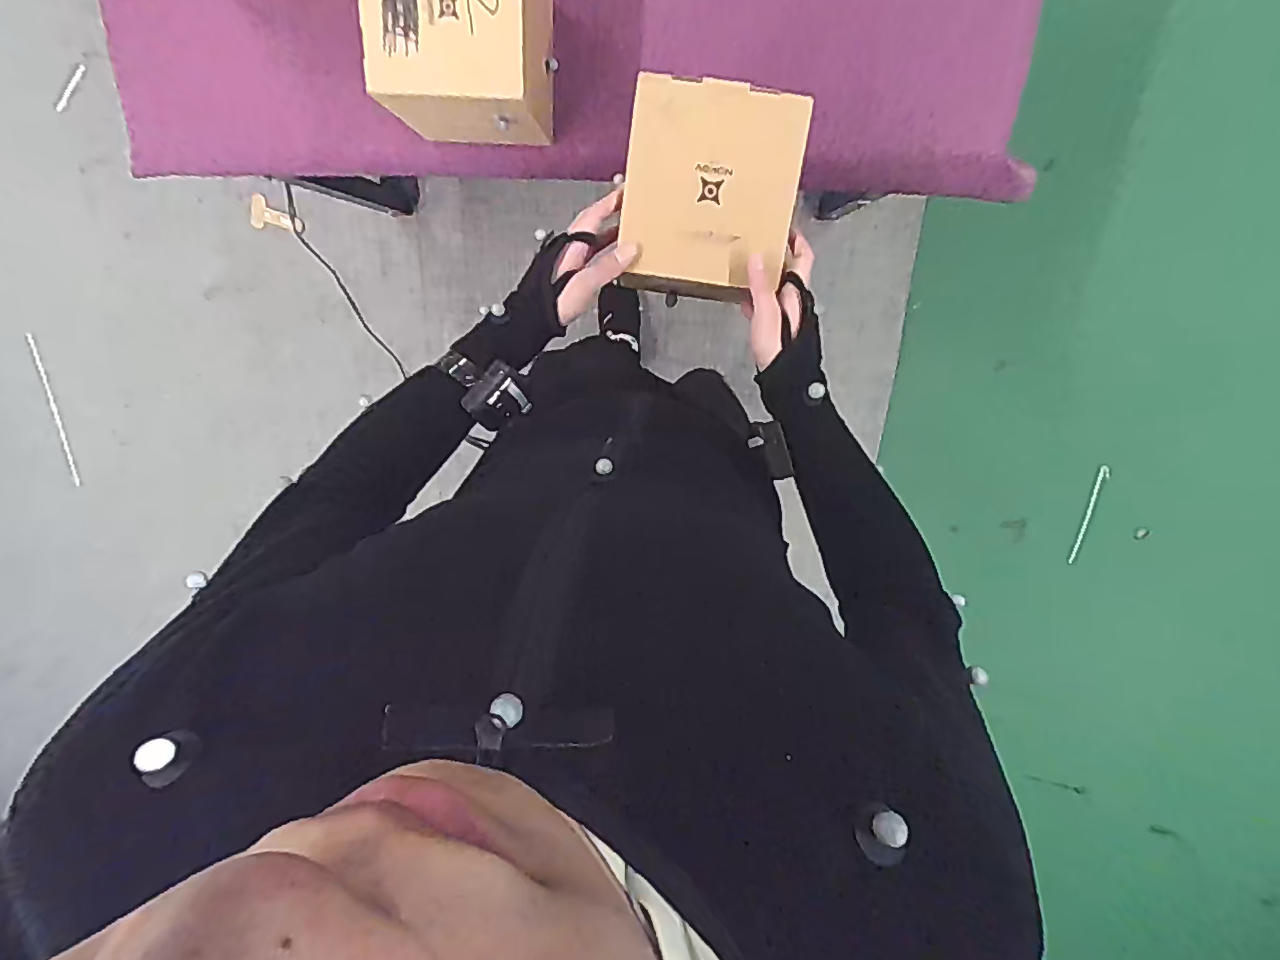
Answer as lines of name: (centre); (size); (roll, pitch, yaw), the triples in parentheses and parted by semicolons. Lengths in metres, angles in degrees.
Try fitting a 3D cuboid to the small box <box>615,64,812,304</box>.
small box: (0.067, -0.301, 0.589); (0.168, 0.176, 0.179); (8, 103, -1)
